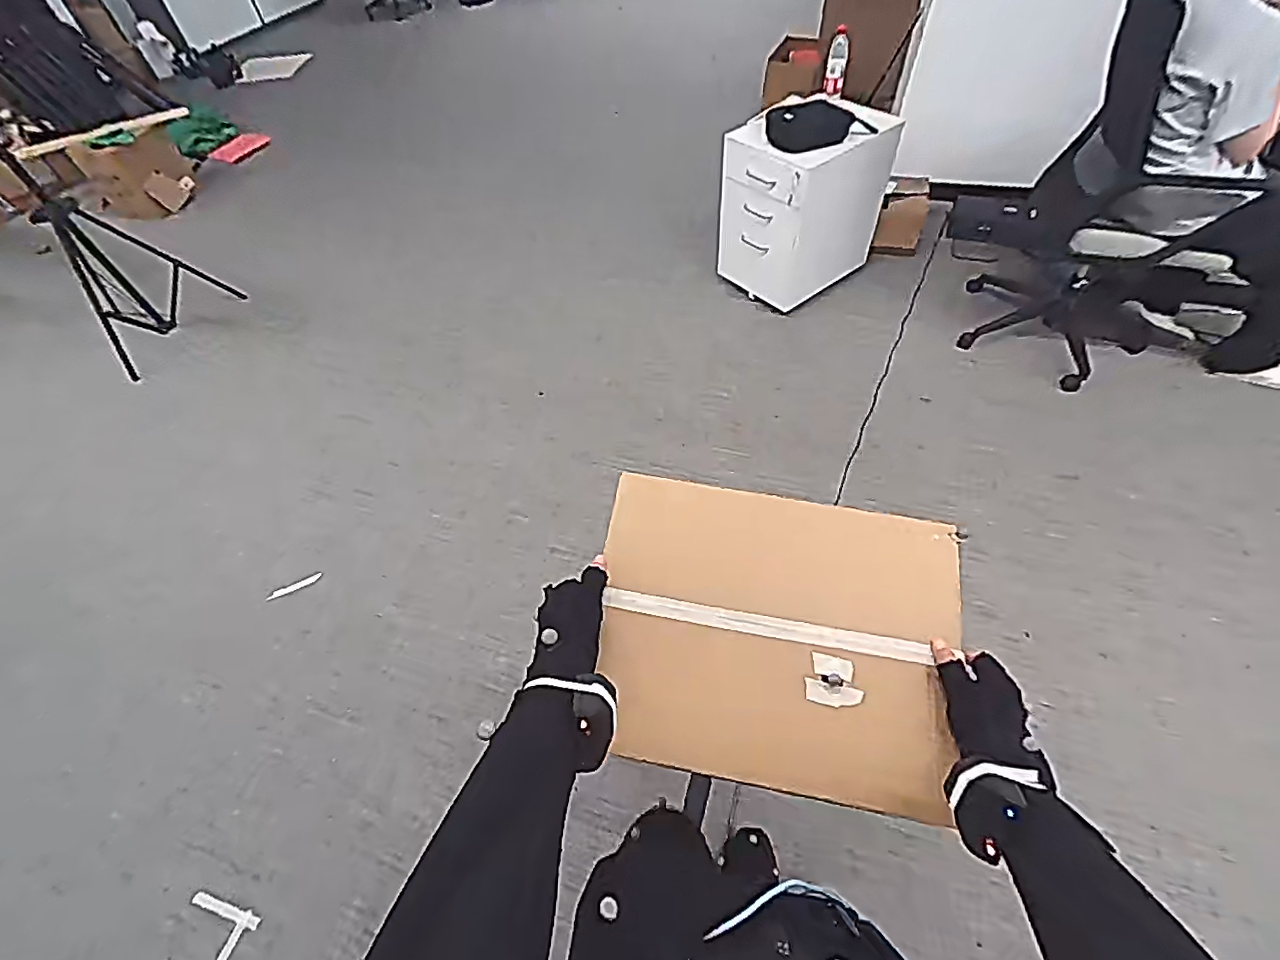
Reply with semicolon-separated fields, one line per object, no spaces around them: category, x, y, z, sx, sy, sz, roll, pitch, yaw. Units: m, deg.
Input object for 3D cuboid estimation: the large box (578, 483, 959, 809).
large box;0.152;0.227;0.754;0.408;0.320;0.320;9;67;5
